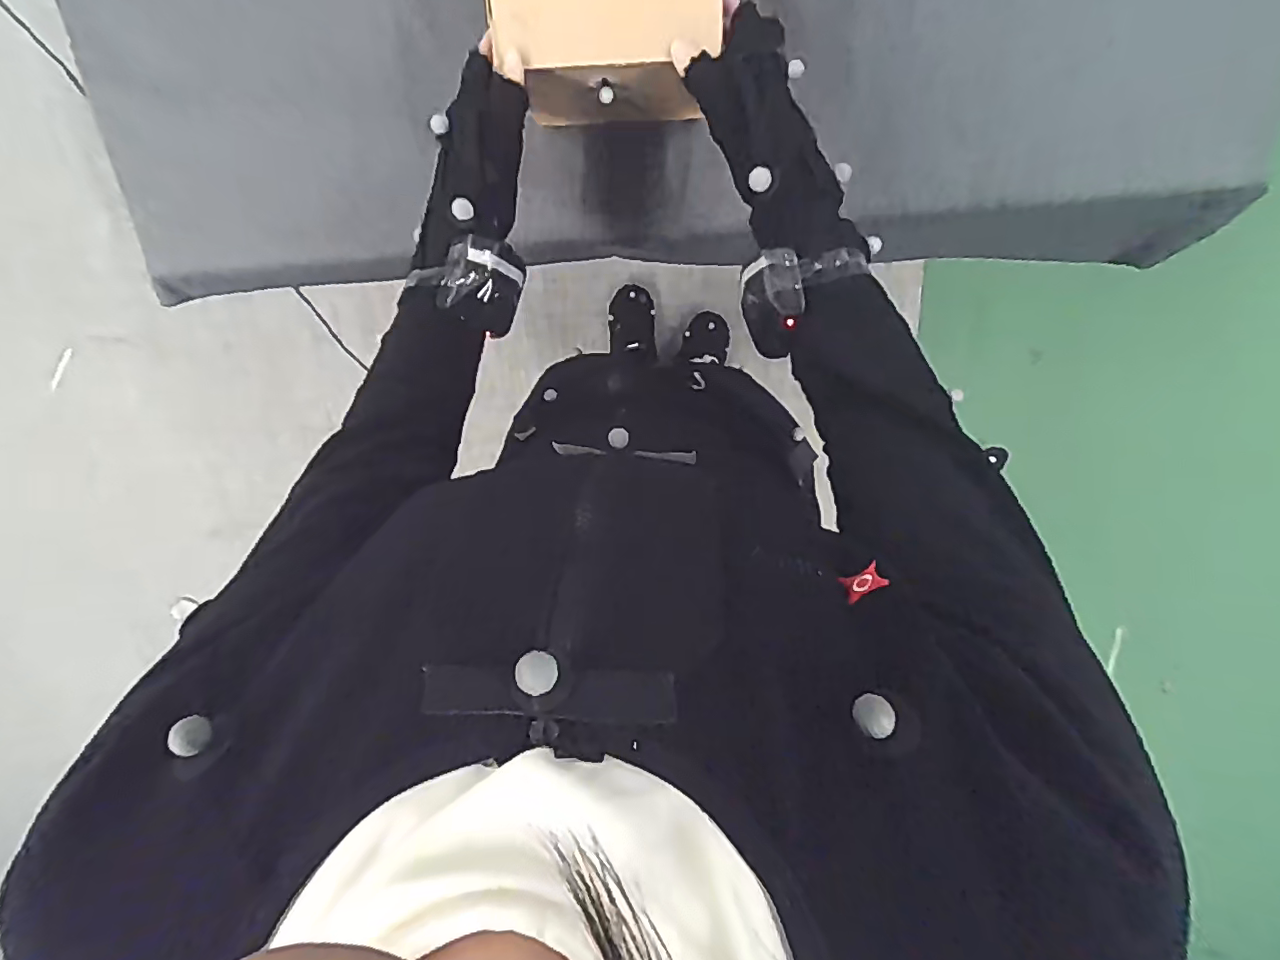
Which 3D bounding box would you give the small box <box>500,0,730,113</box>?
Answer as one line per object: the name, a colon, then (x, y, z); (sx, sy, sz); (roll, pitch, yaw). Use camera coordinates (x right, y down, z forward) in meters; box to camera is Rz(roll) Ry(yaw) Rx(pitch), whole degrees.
small box: (-0.017, -0.433, 0.462); (0.179, 0.176, 0.168); (-2, 111, 3)
